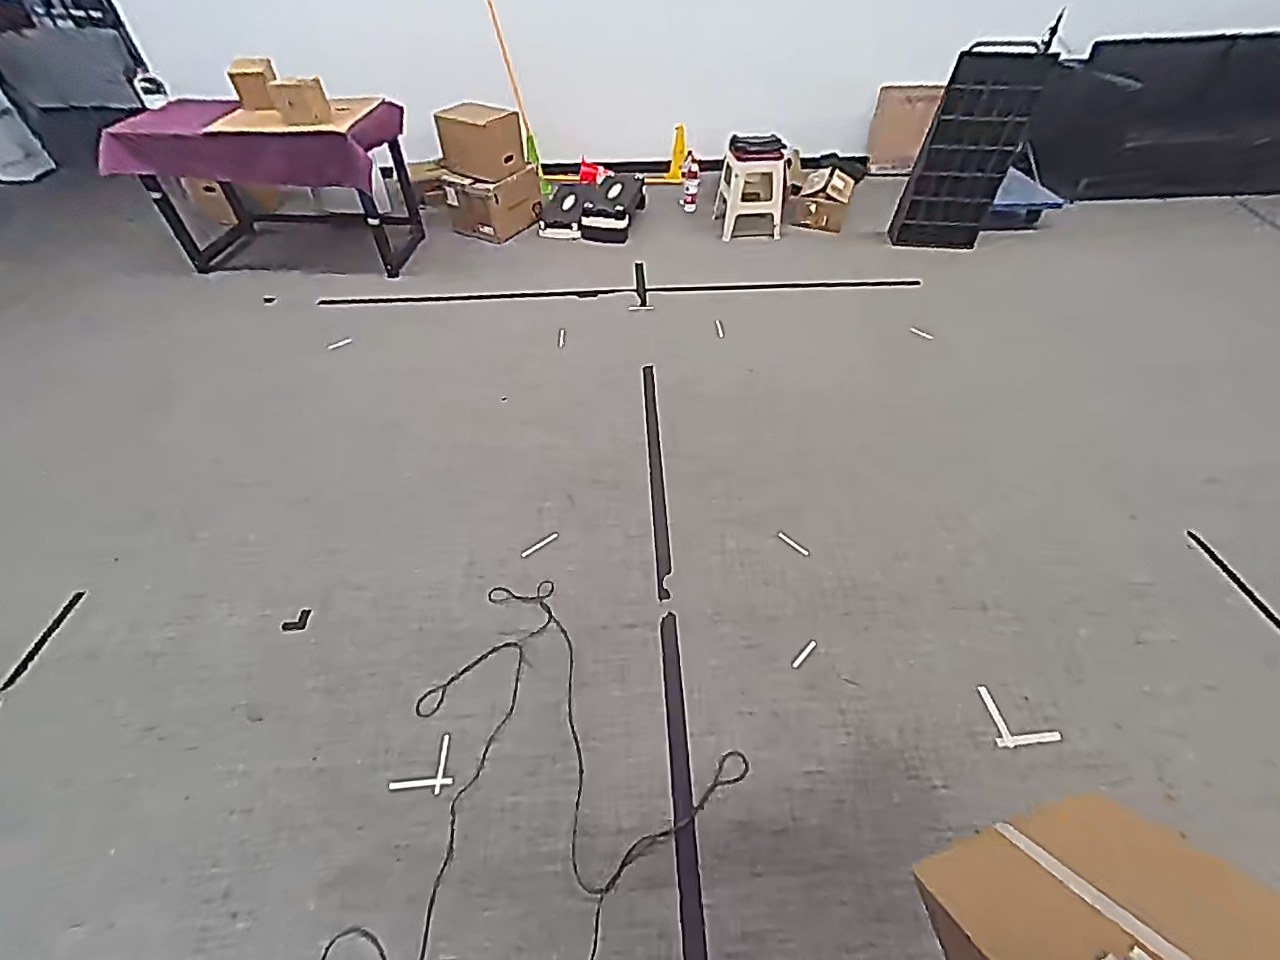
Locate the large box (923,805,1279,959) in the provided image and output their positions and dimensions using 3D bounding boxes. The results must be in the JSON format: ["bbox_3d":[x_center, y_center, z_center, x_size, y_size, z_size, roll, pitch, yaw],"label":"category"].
[{"bbox_3d":[0.620,0.665,0.613,0.320,0.408,0.320,-20,85,-4],"label":"large box"}]
